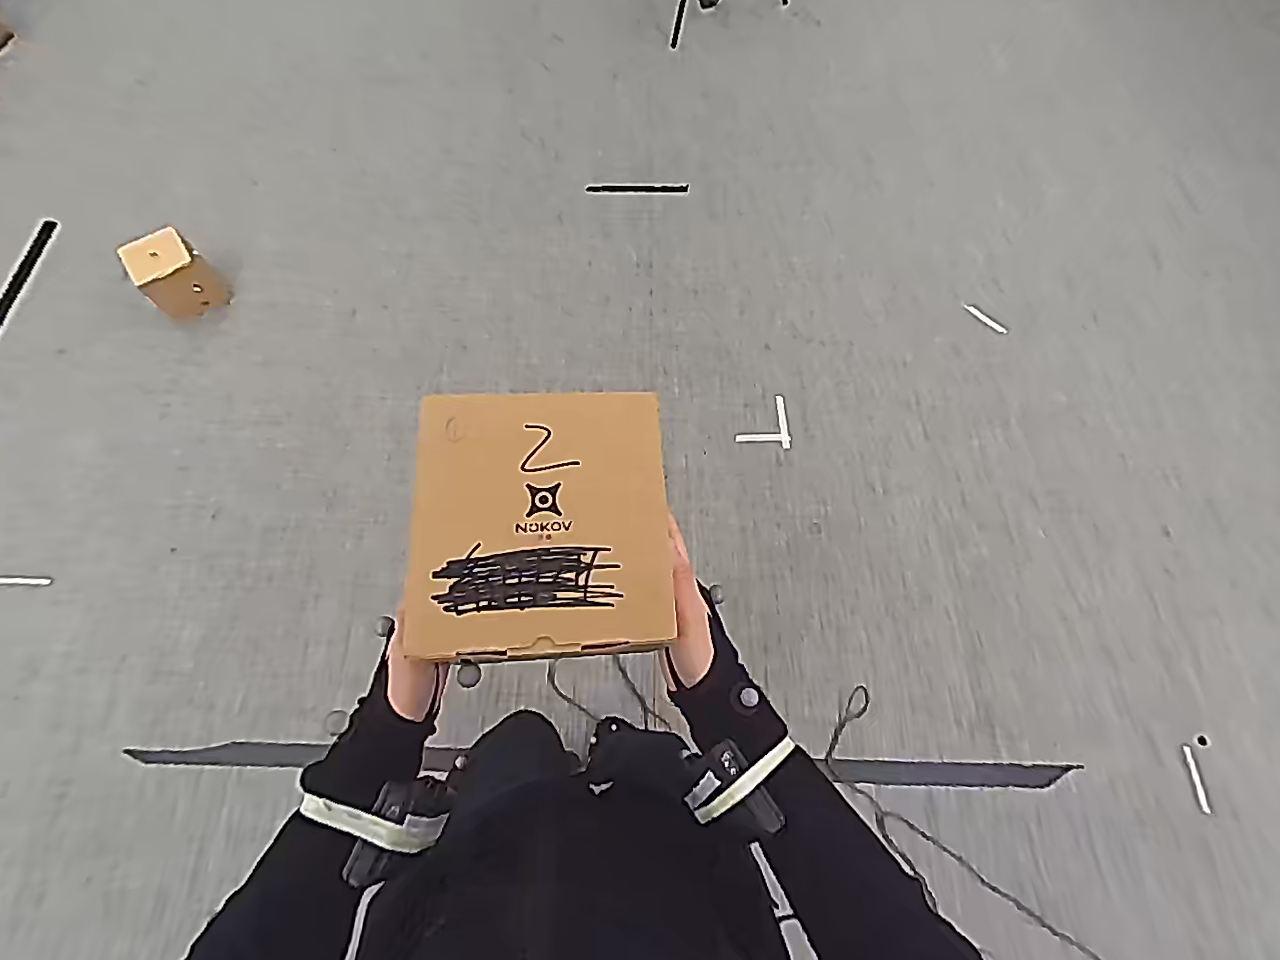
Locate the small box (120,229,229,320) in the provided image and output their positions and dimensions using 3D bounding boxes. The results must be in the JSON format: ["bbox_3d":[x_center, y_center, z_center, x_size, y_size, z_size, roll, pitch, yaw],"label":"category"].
[{"bbox_3d":[-1.422,-0.622,1.665,0.168,0.176,0.179,-35,72,-15],"label":"small box"}]
